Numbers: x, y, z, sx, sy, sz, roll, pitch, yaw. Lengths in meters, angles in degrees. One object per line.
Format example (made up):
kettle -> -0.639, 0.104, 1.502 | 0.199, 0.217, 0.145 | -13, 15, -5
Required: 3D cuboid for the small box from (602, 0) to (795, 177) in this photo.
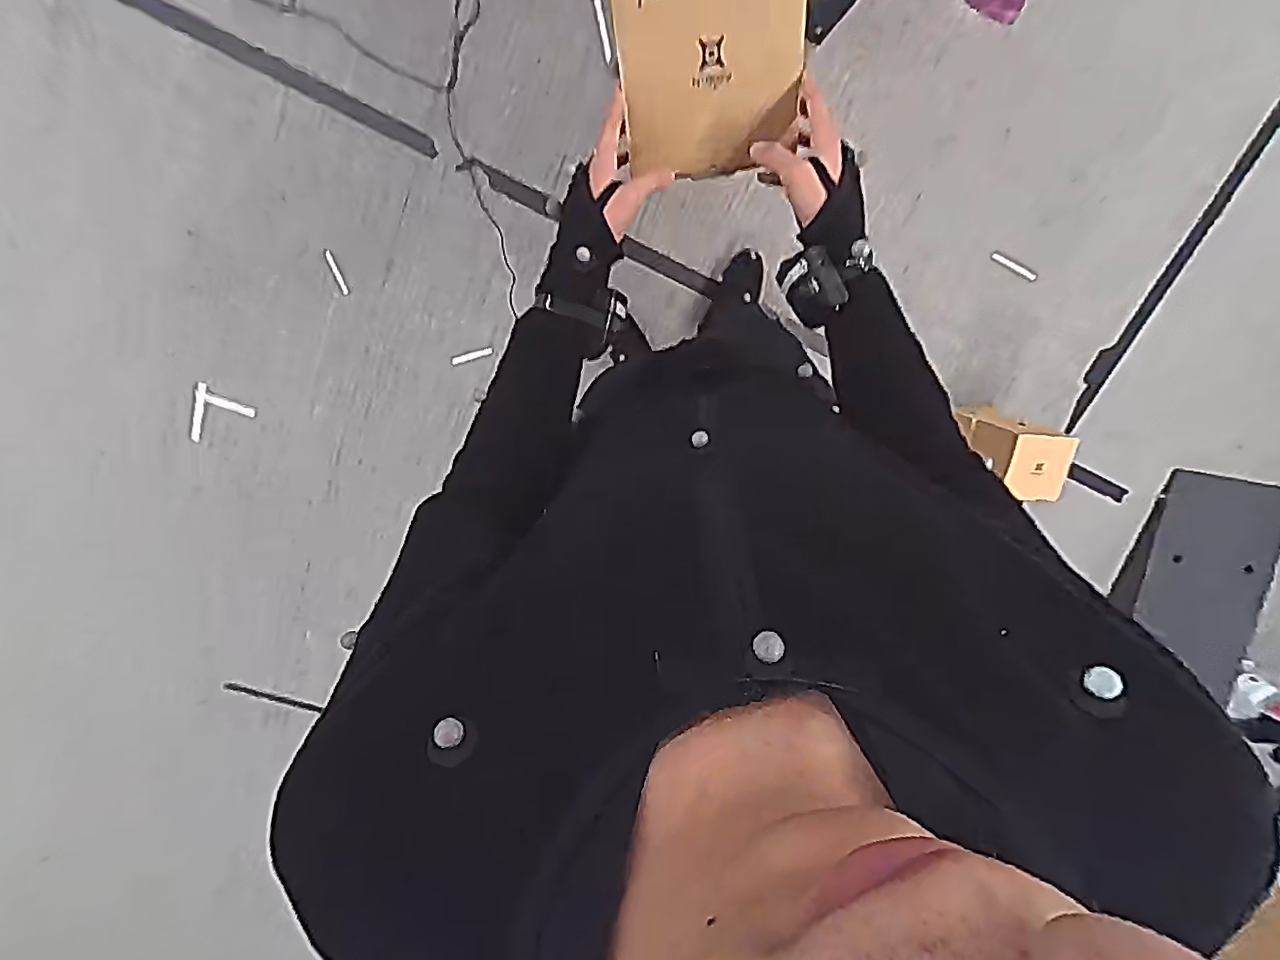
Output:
small box -> 0.054, -0.431, 0.544 | 0.168, 0.176, 0.179 | -6, 132, 4
